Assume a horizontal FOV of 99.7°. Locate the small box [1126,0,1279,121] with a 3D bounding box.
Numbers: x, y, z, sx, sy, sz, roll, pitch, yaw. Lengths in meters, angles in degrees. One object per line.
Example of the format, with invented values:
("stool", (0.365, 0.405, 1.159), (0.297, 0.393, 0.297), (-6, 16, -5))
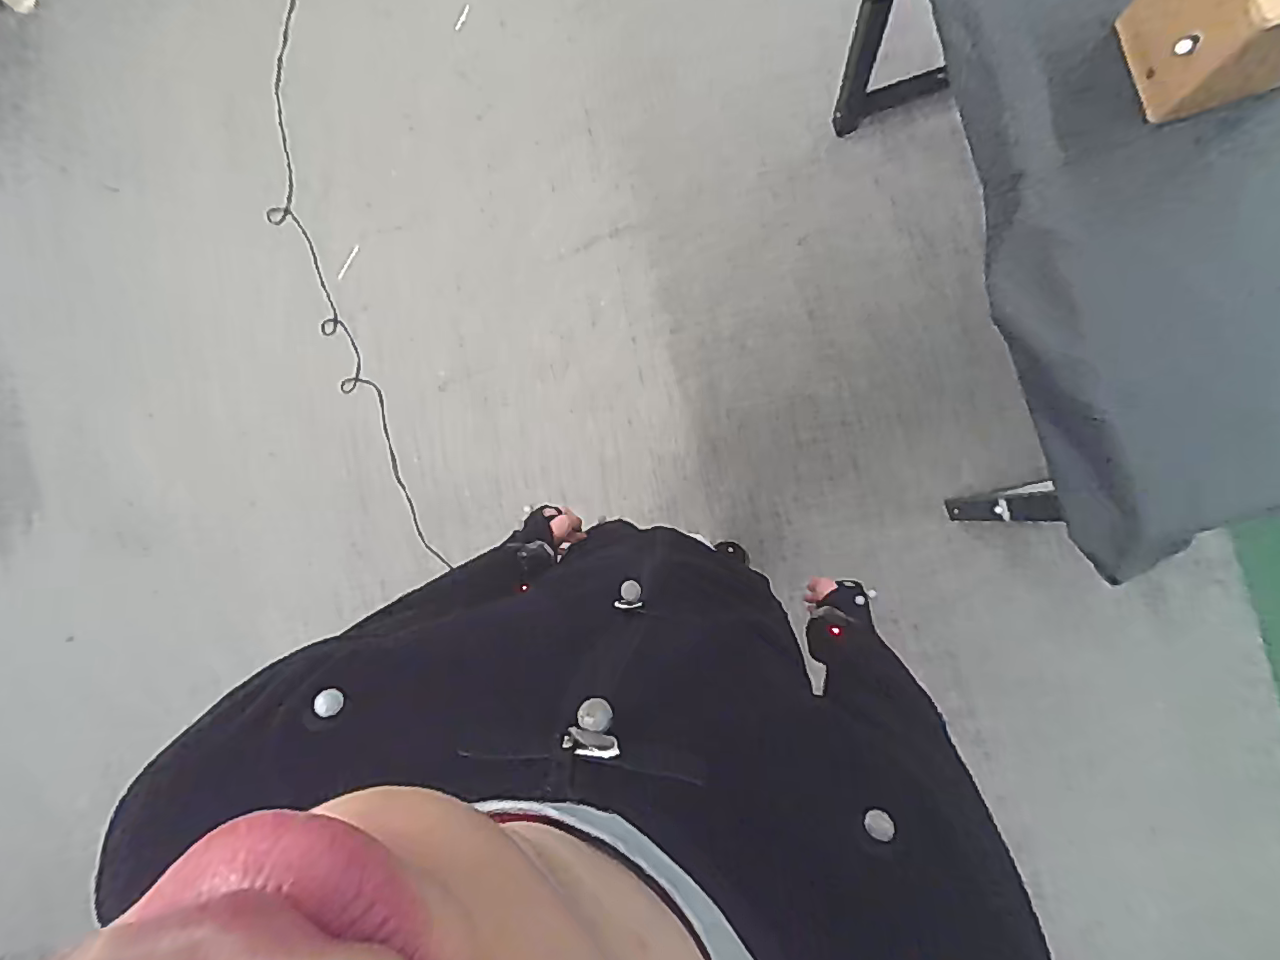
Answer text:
("small box", (0.763, -0.596, 0.674), (0.179, 0.176, 0.168), (-14, 86, 8))
